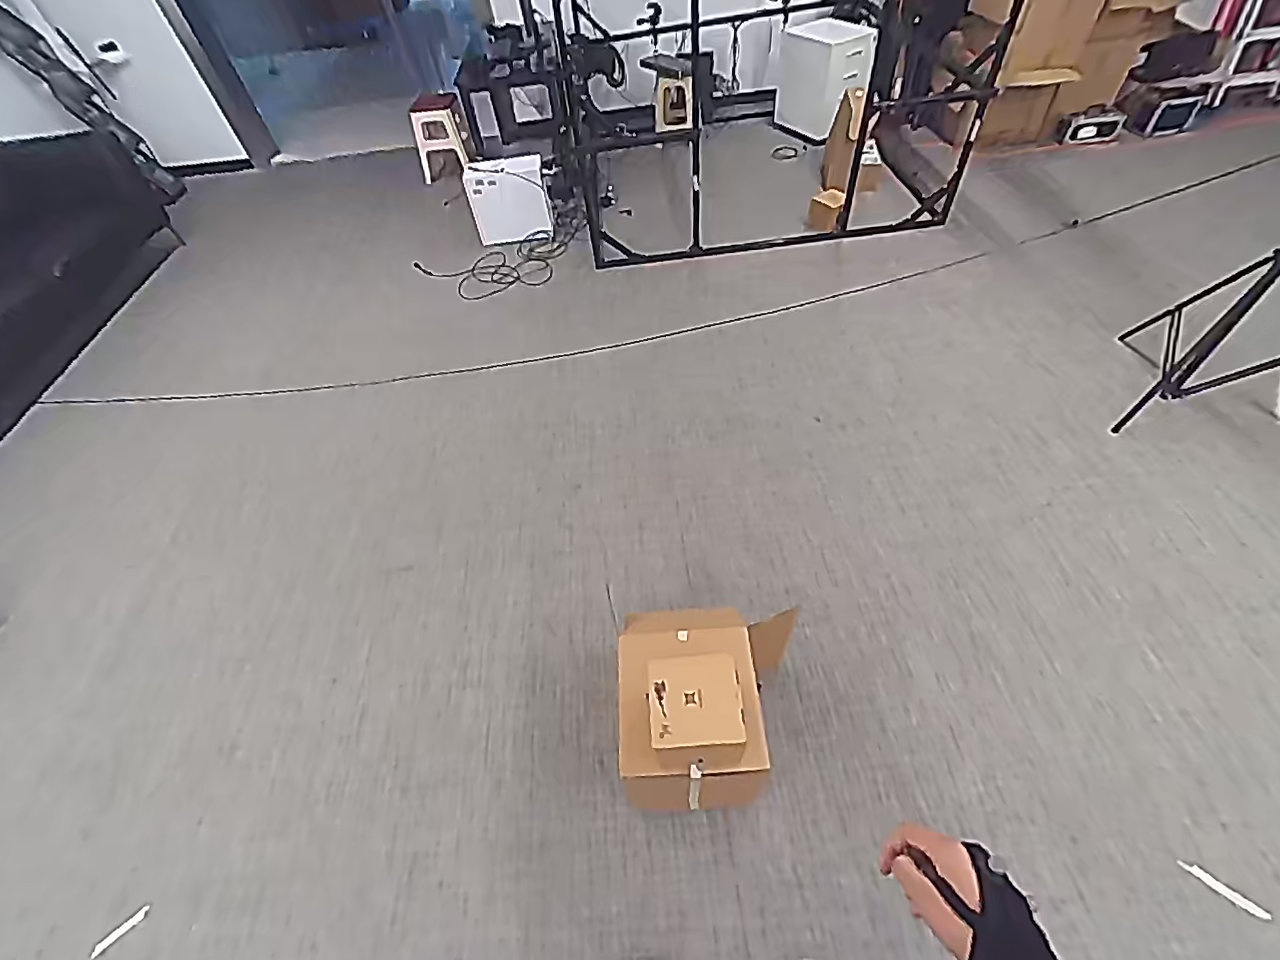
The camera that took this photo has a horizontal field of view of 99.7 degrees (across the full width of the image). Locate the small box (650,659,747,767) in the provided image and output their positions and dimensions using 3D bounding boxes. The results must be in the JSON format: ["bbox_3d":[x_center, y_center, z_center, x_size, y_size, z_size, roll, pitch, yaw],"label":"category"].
[{"bbox_3d":[0.113,0.477,1.099,0.179,0.176,0.168,-5,52,2],"label":"small box"}]
